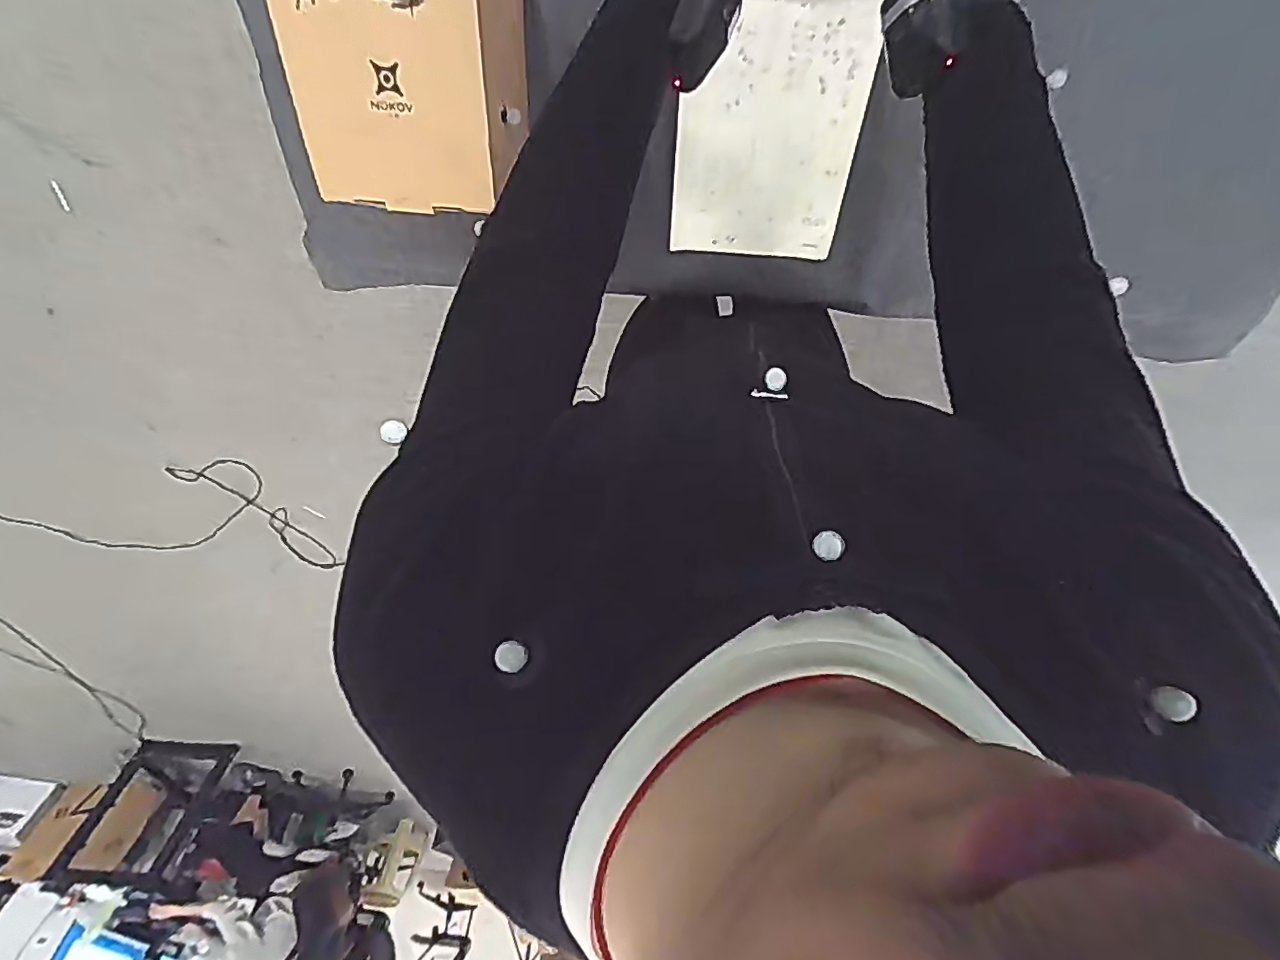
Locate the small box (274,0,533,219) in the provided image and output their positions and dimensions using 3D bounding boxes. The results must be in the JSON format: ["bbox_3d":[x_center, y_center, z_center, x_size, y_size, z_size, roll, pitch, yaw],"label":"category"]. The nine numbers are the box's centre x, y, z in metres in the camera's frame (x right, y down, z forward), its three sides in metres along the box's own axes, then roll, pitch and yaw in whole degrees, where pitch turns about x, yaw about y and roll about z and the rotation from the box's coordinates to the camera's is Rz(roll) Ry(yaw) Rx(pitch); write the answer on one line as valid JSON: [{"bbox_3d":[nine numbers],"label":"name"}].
[{"bbox_3d":[-0.202,-0.370,0.517,0.168,0.176,0.179,5,128,0],"label":"small box"}]
